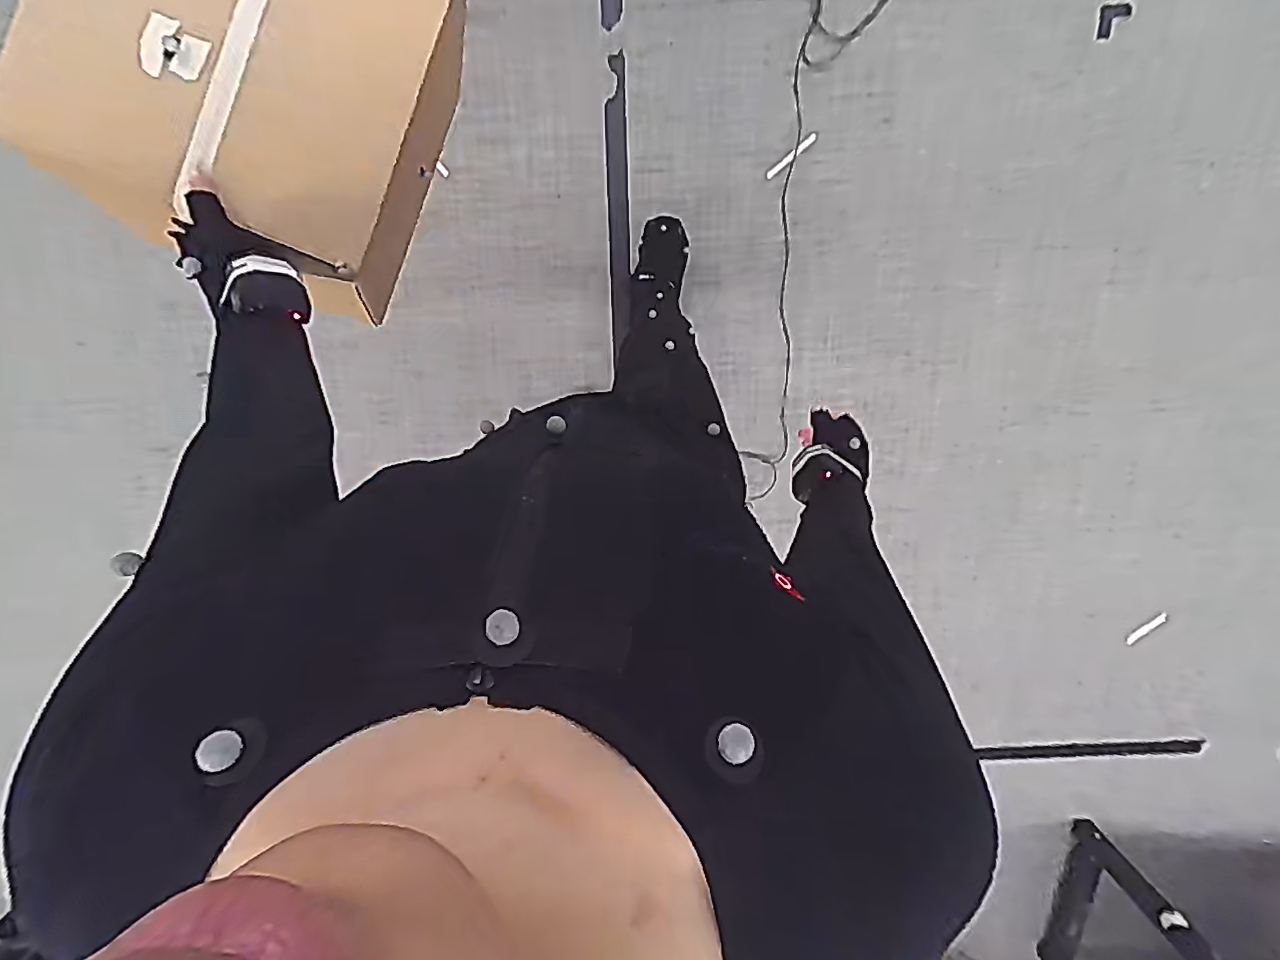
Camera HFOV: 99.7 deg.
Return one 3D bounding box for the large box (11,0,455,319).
[{"bbox_3d":[-0.446,-0.476,0.694,0.320,0.320,0.408,18,89,-21],"label":"large box"}]
